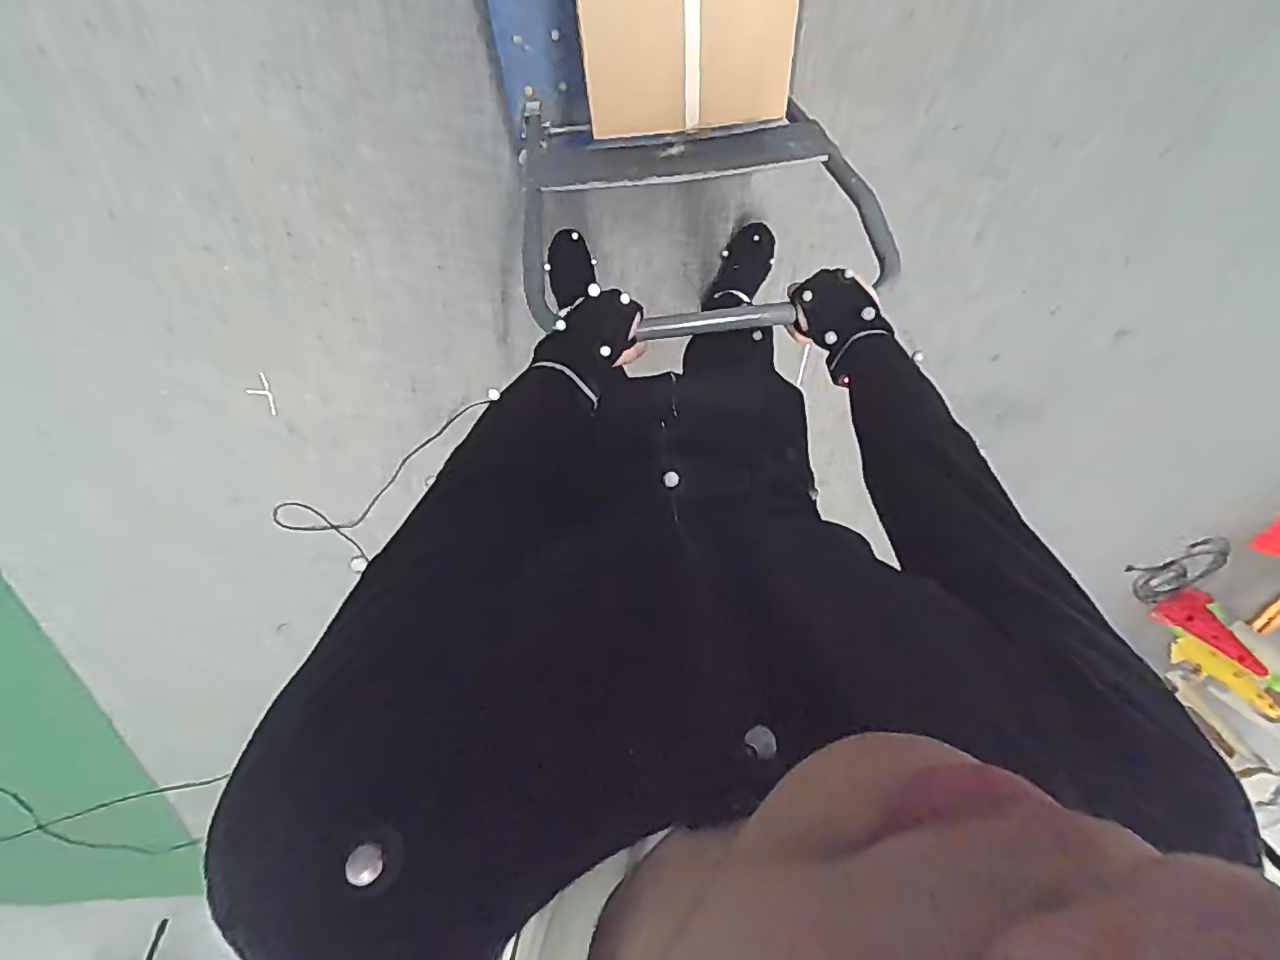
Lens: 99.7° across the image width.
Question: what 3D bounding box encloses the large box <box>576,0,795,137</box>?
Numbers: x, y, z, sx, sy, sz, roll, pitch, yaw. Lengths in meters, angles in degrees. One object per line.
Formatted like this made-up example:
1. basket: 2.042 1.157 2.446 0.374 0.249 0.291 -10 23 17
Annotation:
1. large box: 0.049 -0.809 0.824 0.320 0.320 0.408 -8 137 -1
